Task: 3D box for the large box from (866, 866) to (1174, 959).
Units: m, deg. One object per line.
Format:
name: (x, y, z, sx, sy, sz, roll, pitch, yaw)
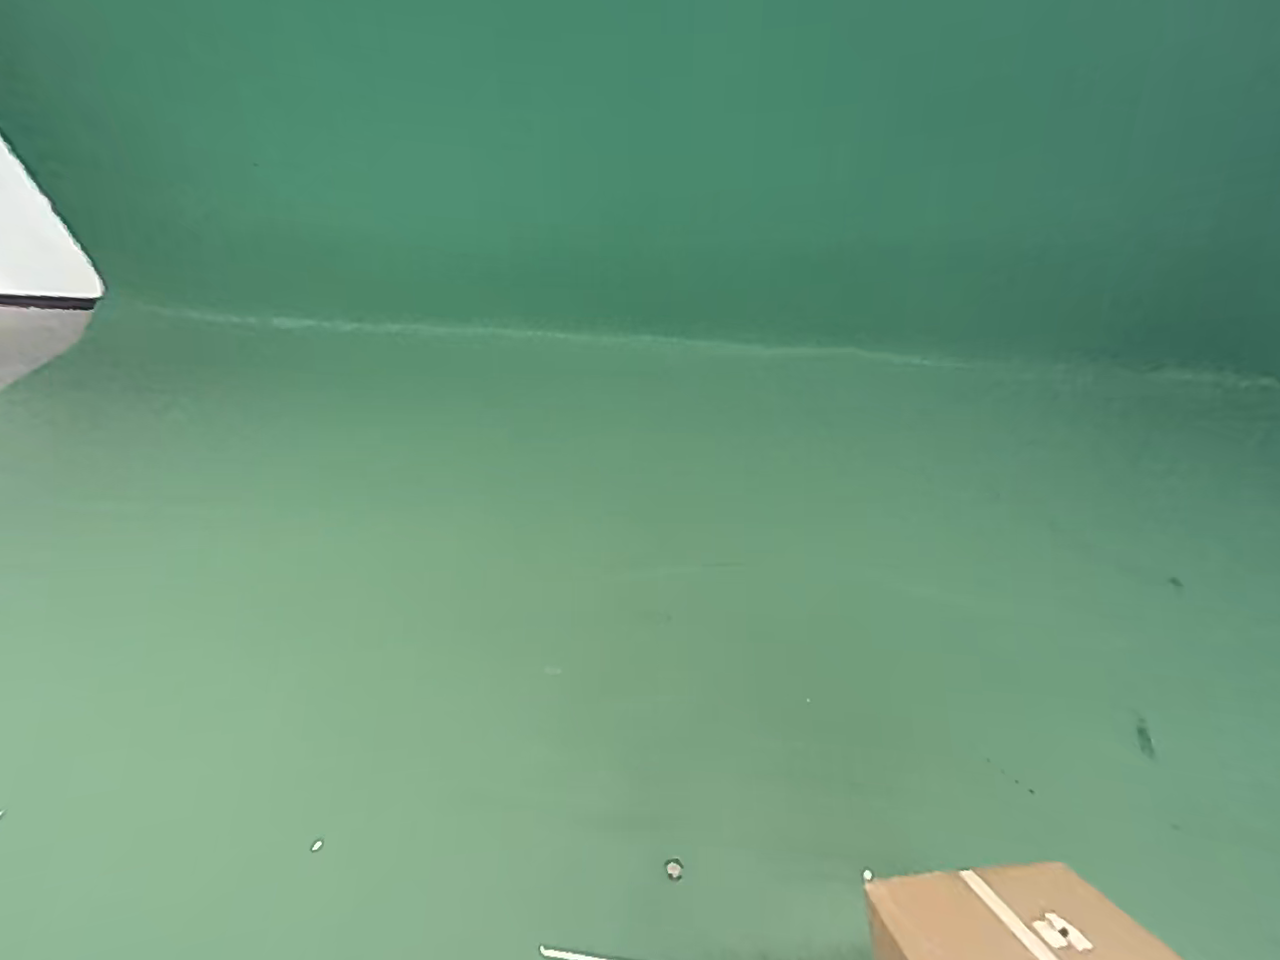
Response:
large box: (0.516, 0.746, 0.628, 0.320, 0.408, 0.320, -4, 85, 0)
